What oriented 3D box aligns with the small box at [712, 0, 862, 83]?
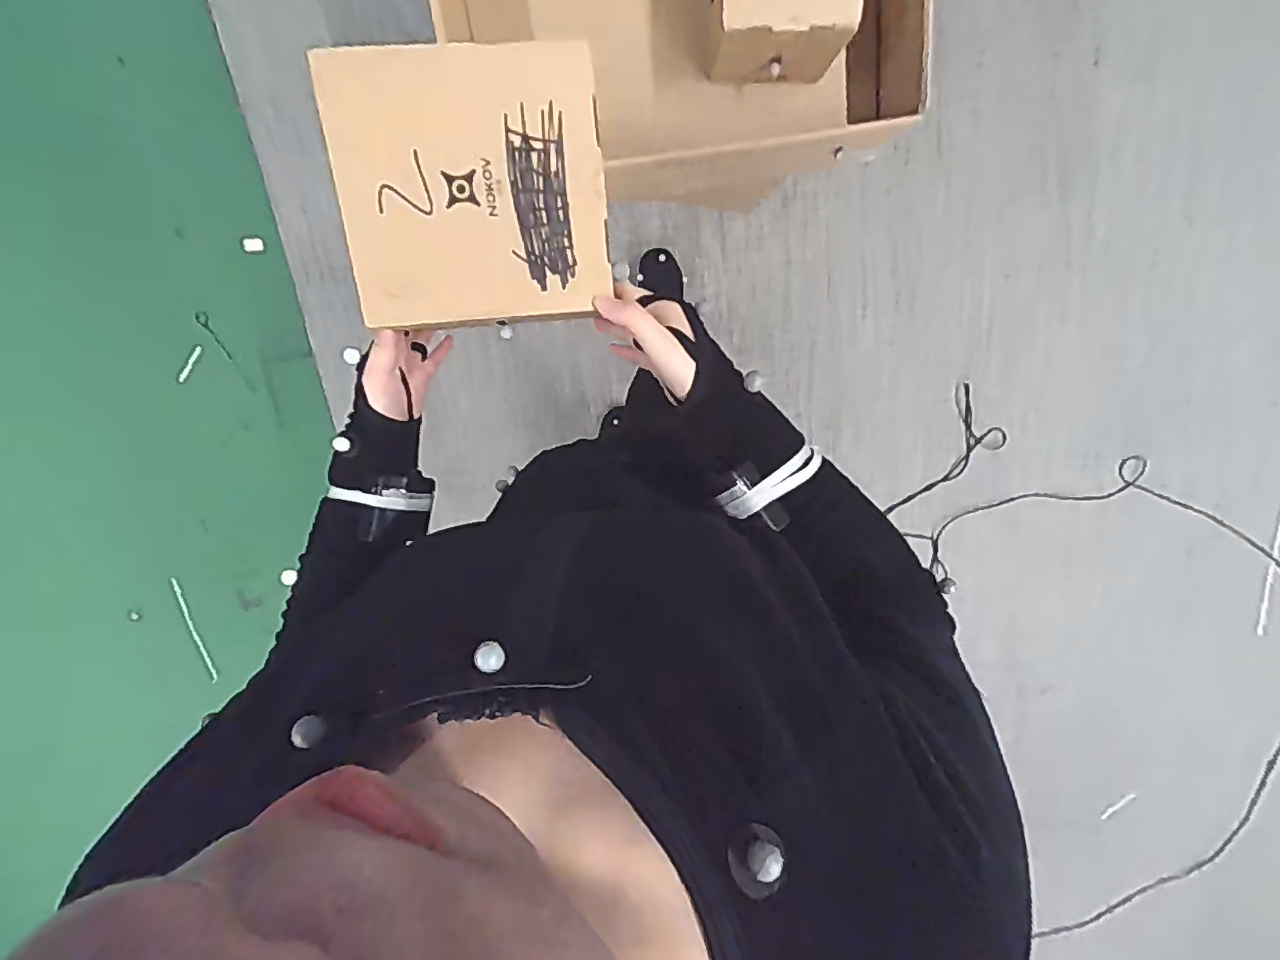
[{"bbox_3d":[0.185,-0.641,0.699,0.168,0.176,0.179,1,109,1],"label":"small box"}]
